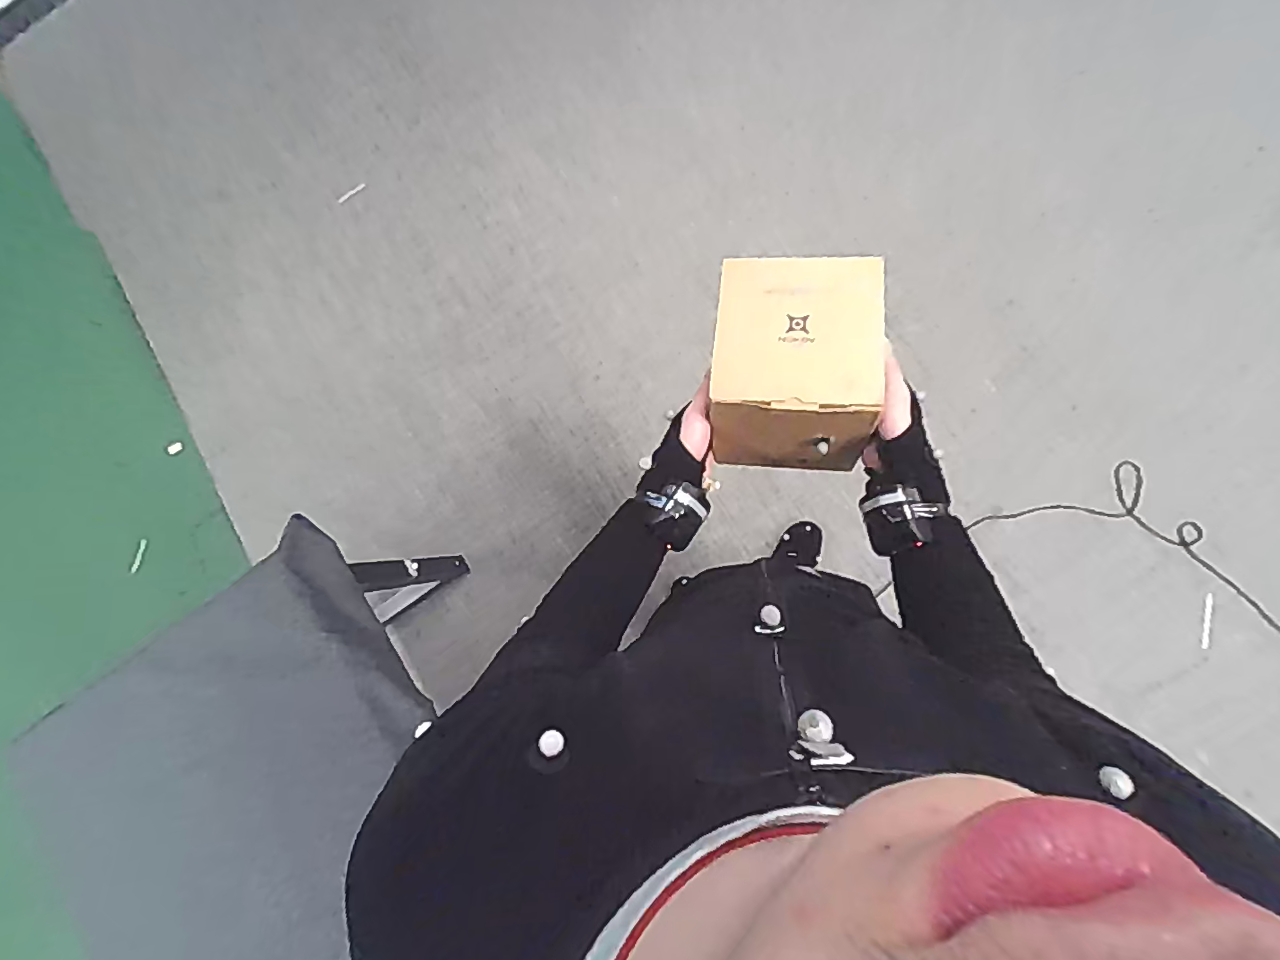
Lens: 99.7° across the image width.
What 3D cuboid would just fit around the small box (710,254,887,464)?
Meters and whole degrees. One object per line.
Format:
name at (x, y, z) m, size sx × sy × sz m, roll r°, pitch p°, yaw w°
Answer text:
small box at (0.172, -0.129, 0.614) m, size 0.168 × 0.176 × 0.179 m, roll 5°, pitch 70°, yaw 10°
